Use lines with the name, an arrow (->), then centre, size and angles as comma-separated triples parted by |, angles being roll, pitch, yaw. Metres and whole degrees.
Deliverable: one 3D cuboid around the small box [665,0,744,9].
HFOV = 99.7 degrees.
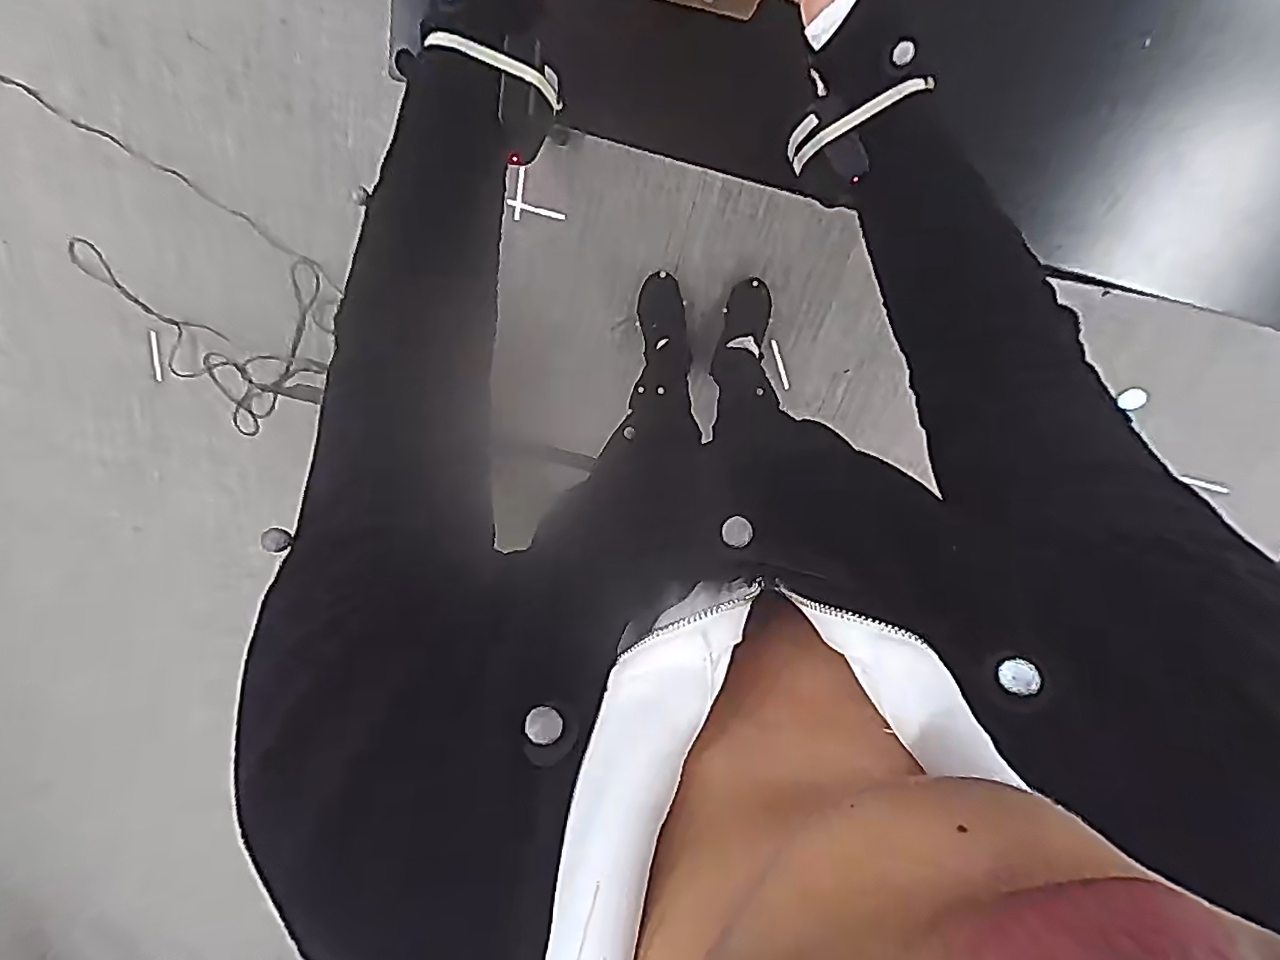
small box -> 0.029, -0.481, 0.393 | 0.179, 0.176, 0.168 | 10, 118, -4
